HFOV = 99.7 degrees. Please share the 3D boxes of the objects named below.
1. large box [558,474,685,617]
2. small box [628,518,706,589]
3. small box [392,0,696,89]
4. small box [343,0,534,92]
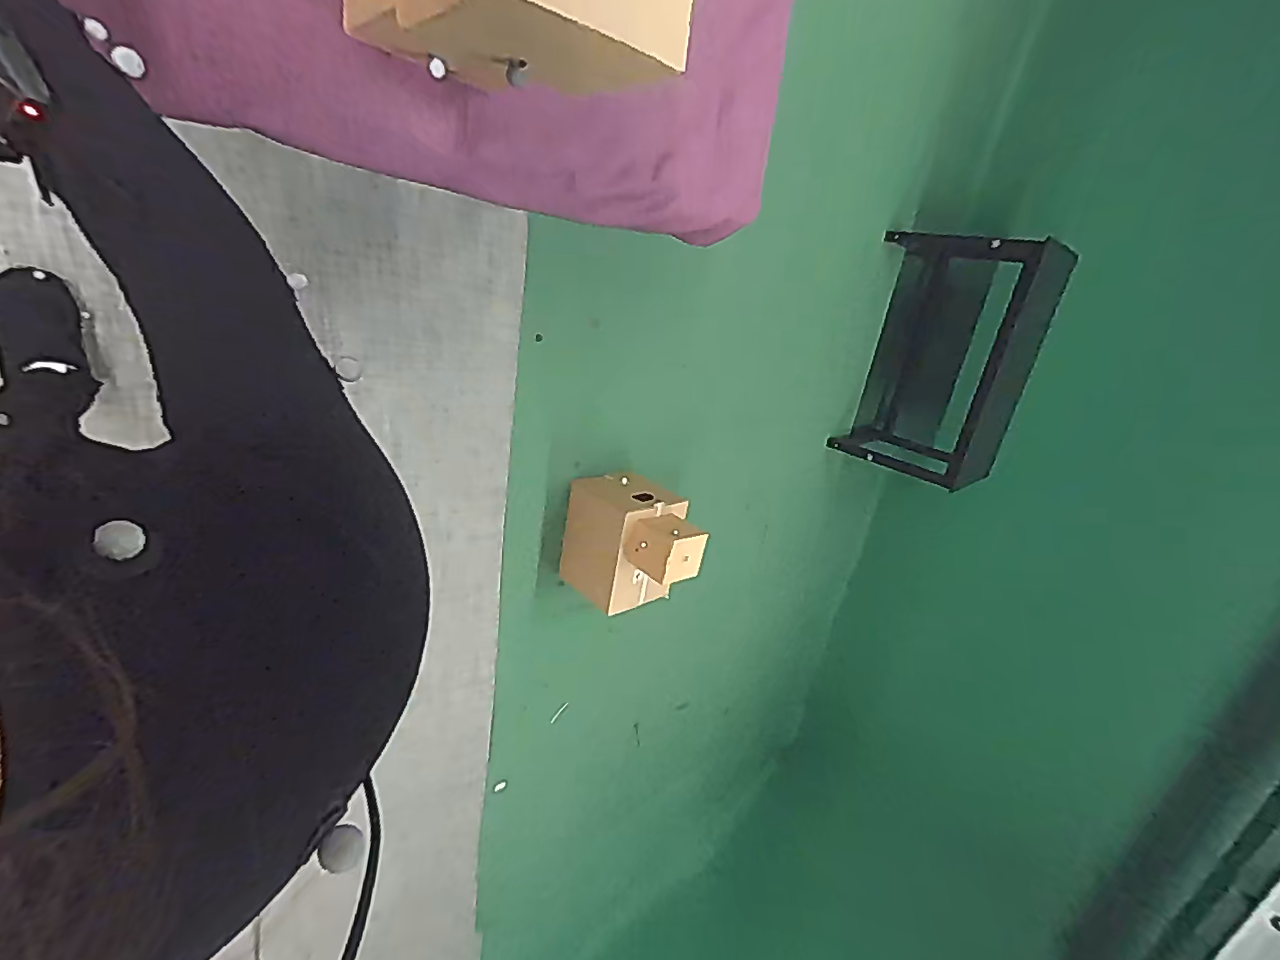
[{"bbox_3d":[-0.079,0.227,2.014,0.320,0.320,0.408,-8,117,-43],"label":"large box"},{"bbox_3d":[0.089,0.240,1.821,0.179,0.176,0.168,-5,115,-43],"label":"small box"},{"bbox_3d":[-0.069,-0.419,0.408,0.179,0.176,0.168,-13,120,-42],"label":"small box"},{"bbox_3d":[-0.169,-0.503,0.510,0.168,0.176,0.179,-9,117,-43],"label":"small box"}]
